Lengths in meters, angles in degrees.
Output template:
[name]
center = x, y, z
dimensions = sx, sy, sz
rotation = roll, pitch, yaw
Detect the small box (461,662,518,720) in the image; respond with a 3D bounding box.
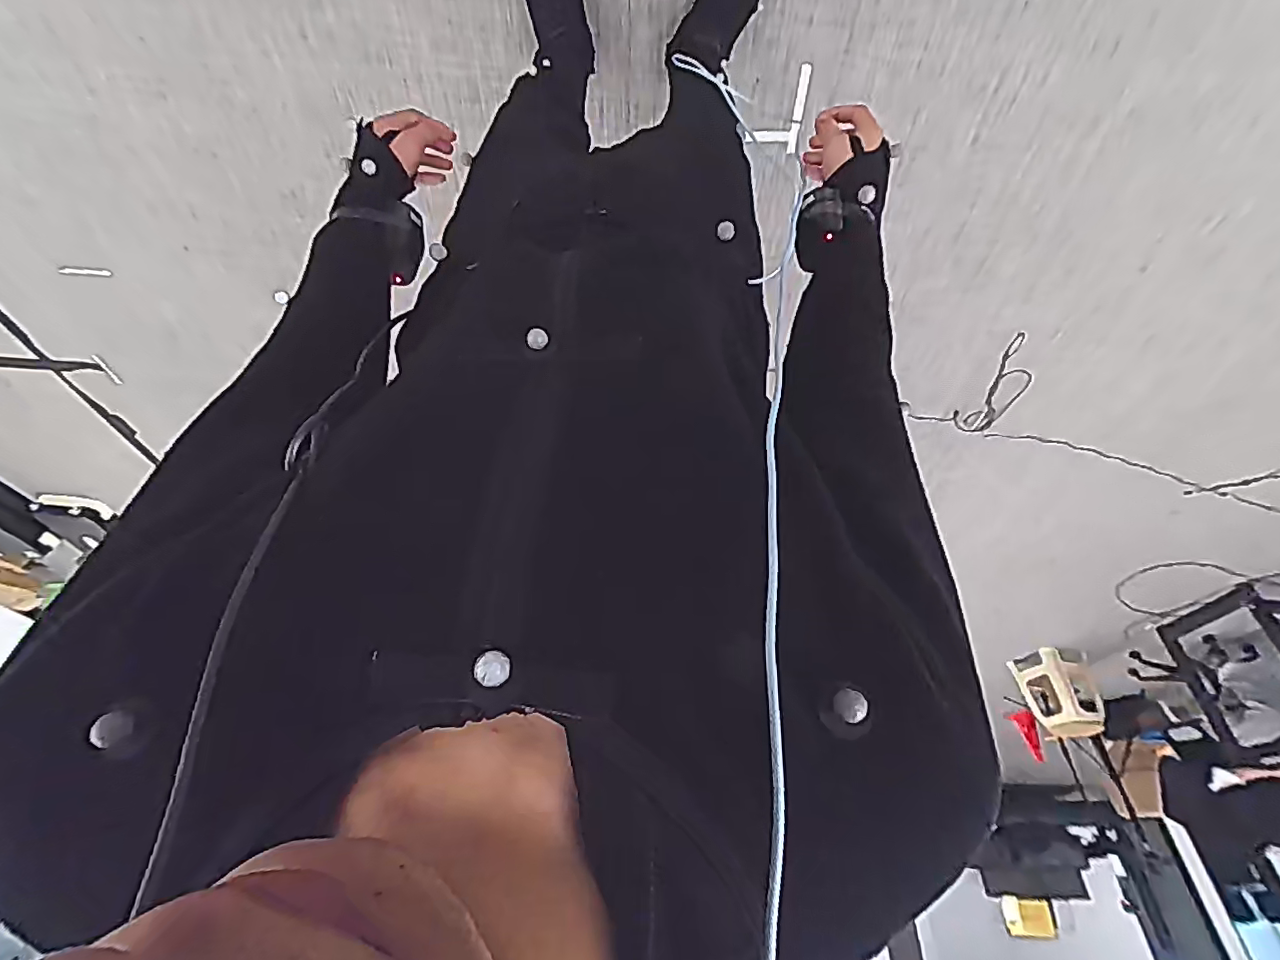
[small box]
center = -0.573, 0.807, 2.072
dimensions = 0.168, 0.176, 0.179
rotation = 3, 142, 0
